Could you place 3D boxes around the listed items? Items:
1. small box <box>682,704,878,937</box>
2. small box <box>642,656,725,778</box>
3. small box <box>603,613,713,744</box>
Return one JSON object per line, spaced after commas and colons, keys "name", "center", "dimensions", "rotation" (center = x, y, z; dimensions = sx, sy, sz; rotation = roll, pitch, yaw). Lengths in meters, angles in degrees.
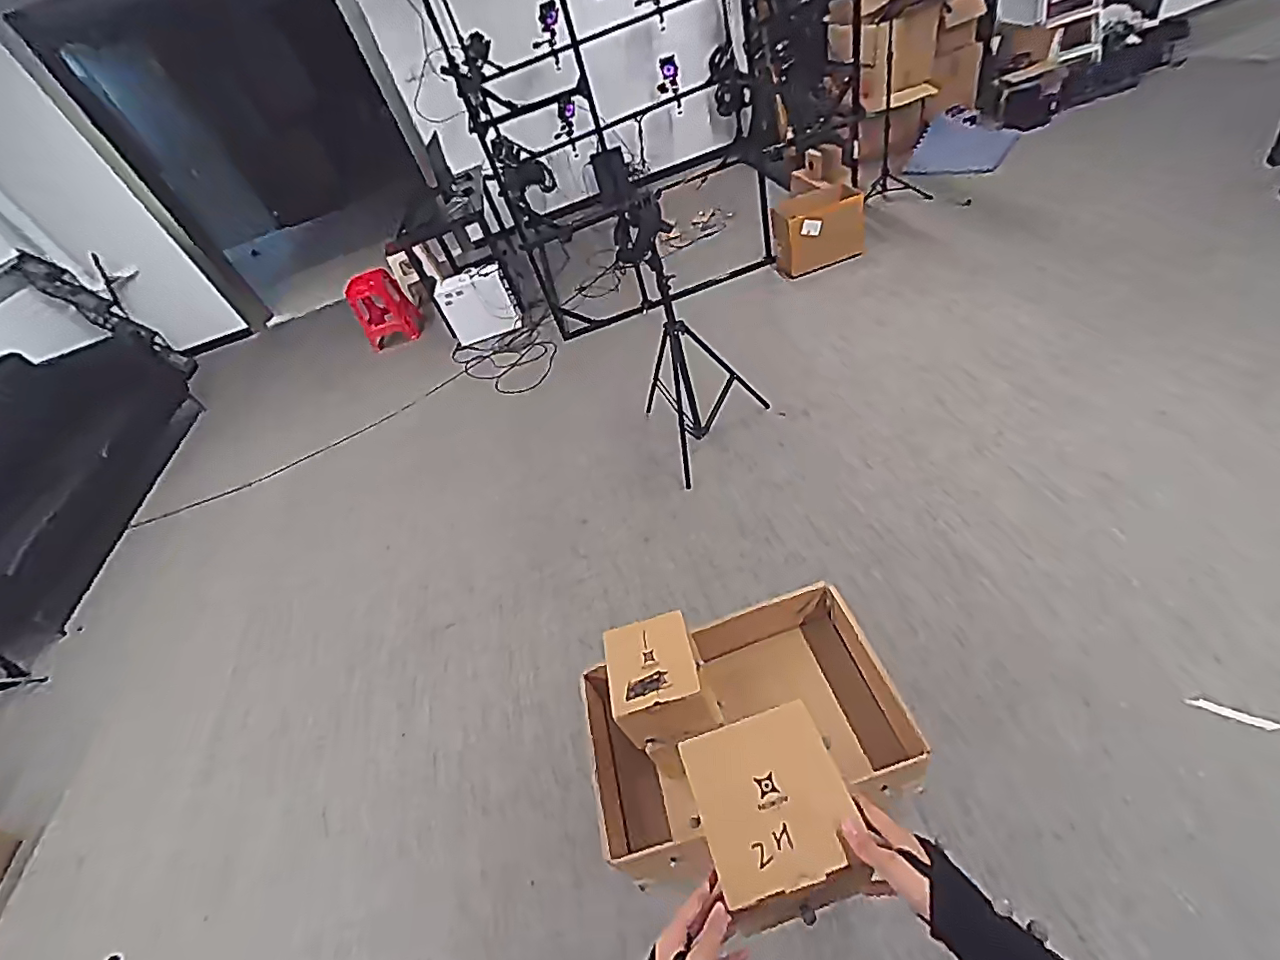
{"name": "small box", "center": [0.162, 0.415, 0.663], "dimensions": [0.168, 0.176, 0.179], "rotation": [-18, 42, -3]}
{"name": "small box", "center": [0.085, 0.508, 1.174], "dimensions": [0.168, 0.176, 0.179], "rotation": [-22, 43, 0]}
{"name": "small box", "center": [0.036, 0.397, 1.062], "dimensions": [0.168, 0.176, 0.179], "rotation": [-17, 43, 4]}
